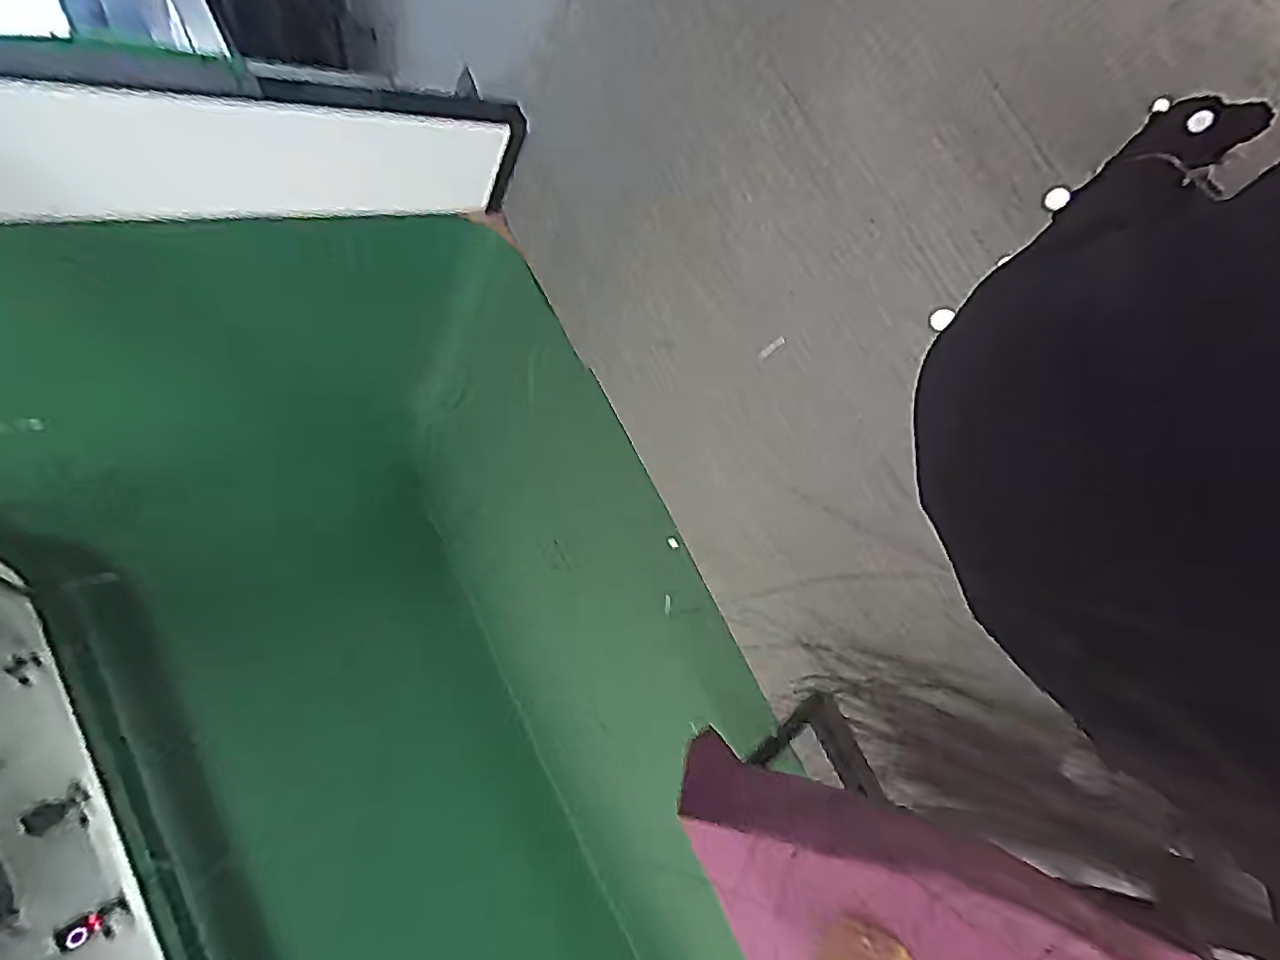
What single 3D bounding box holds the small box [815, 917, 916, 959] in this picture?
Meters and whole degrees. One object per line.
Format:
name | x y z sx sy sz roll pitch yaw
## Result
small box | 0.482 1.069 1.113 0.168 0.176 0.179 -26 87 52
